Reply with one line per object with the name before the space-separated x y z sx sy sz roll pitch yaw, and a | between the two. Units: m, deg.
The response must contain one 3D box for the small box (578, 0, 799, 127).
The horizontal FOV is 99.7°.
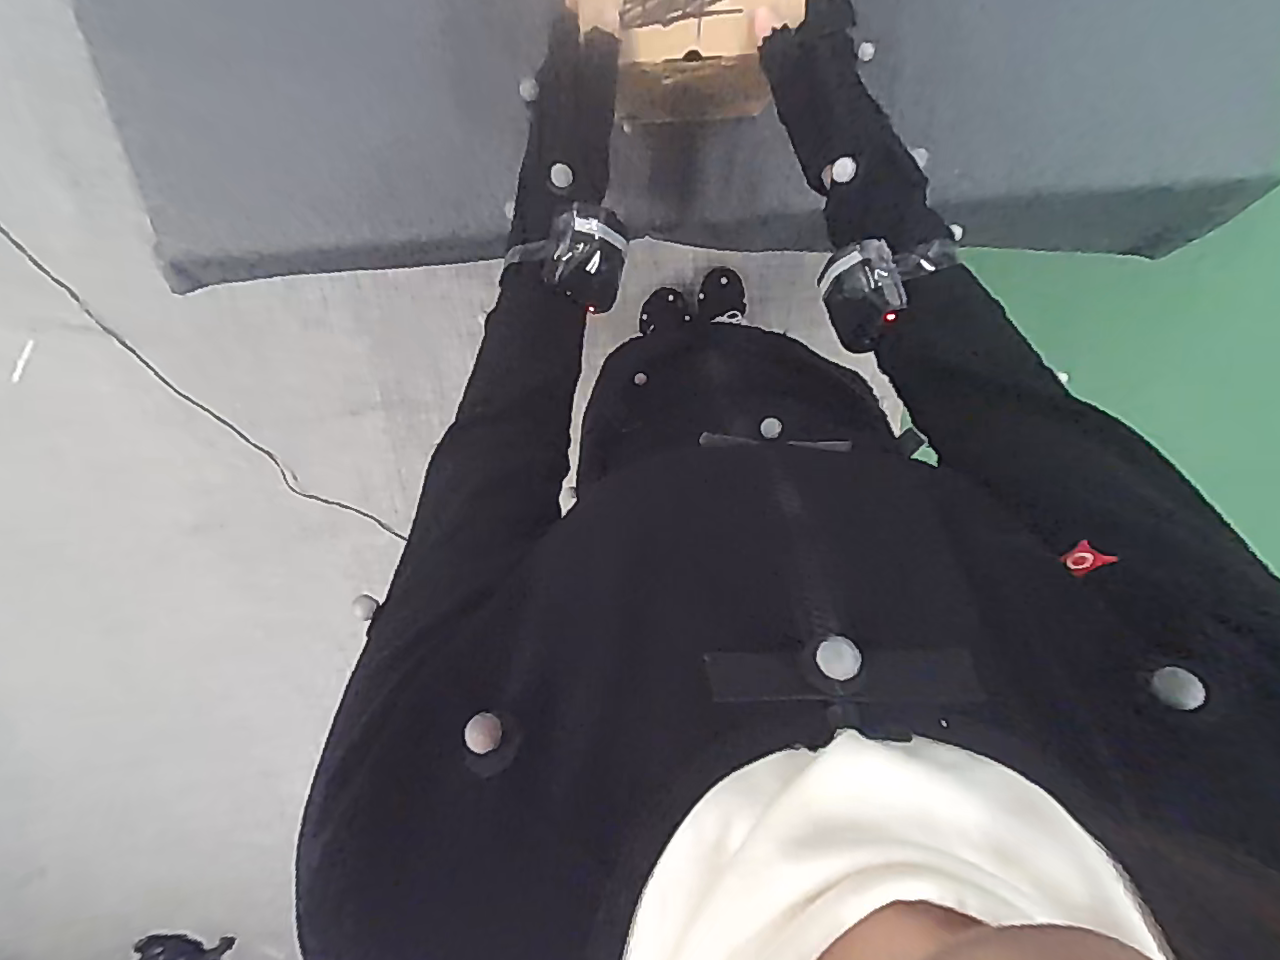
small box | 0.035 -0.419 0.459 0.168 0.176 0.179 -3 109 1
